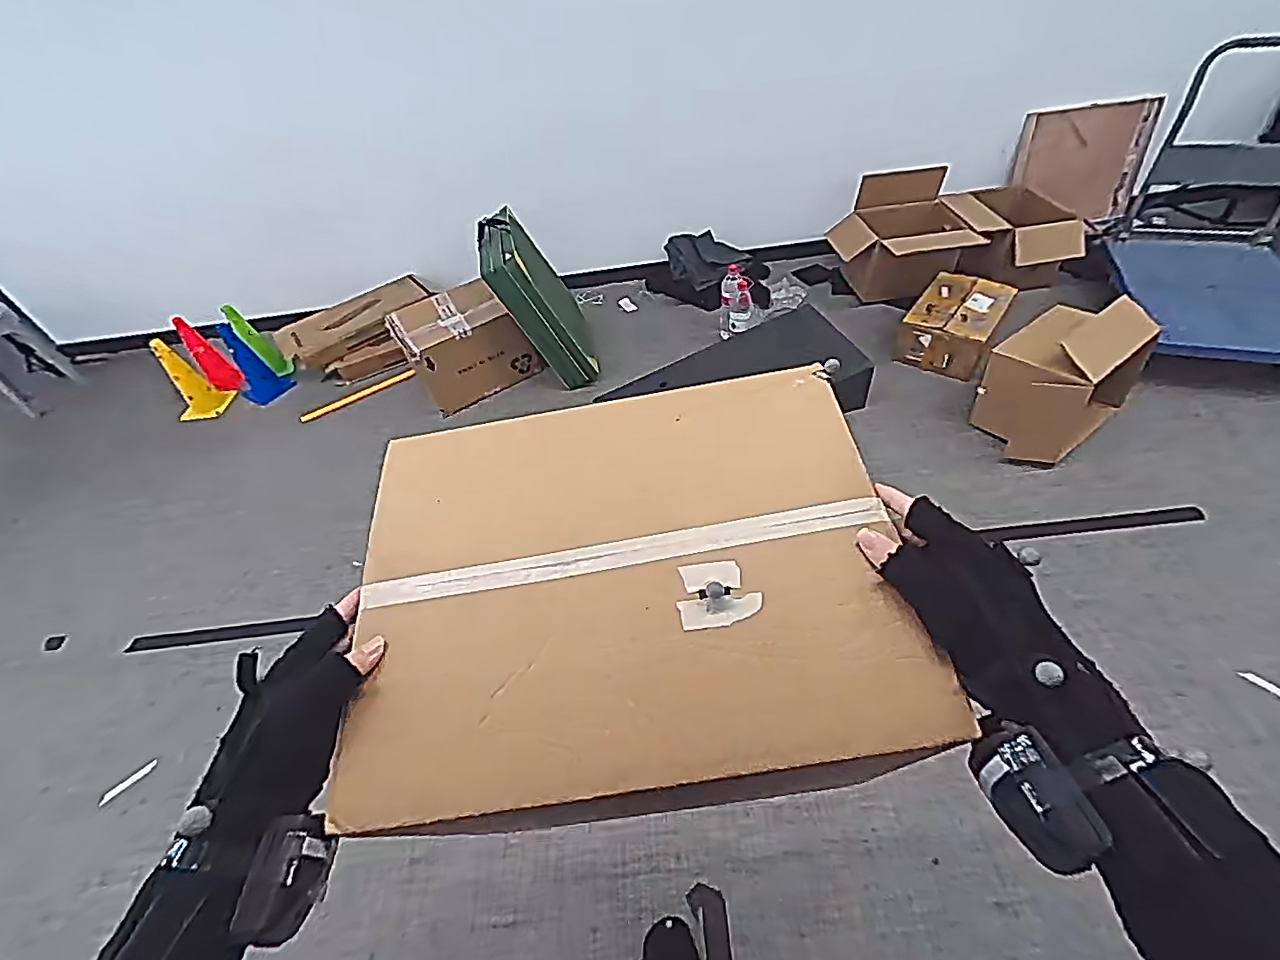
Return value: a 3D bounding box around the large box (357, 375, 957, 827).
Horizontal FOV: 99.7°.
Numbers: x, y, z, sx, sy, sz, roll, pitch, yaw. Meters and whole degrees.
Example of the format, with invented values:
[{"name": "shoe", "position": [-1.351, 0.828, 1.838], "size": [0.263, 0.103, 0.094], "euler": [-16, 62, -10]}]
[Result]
[{"name": "large box", "position": [0.005, 0.141, 0.552], "size": [0.408, 0.320, 0.320], "euler": [-10, 57, 2]}]
